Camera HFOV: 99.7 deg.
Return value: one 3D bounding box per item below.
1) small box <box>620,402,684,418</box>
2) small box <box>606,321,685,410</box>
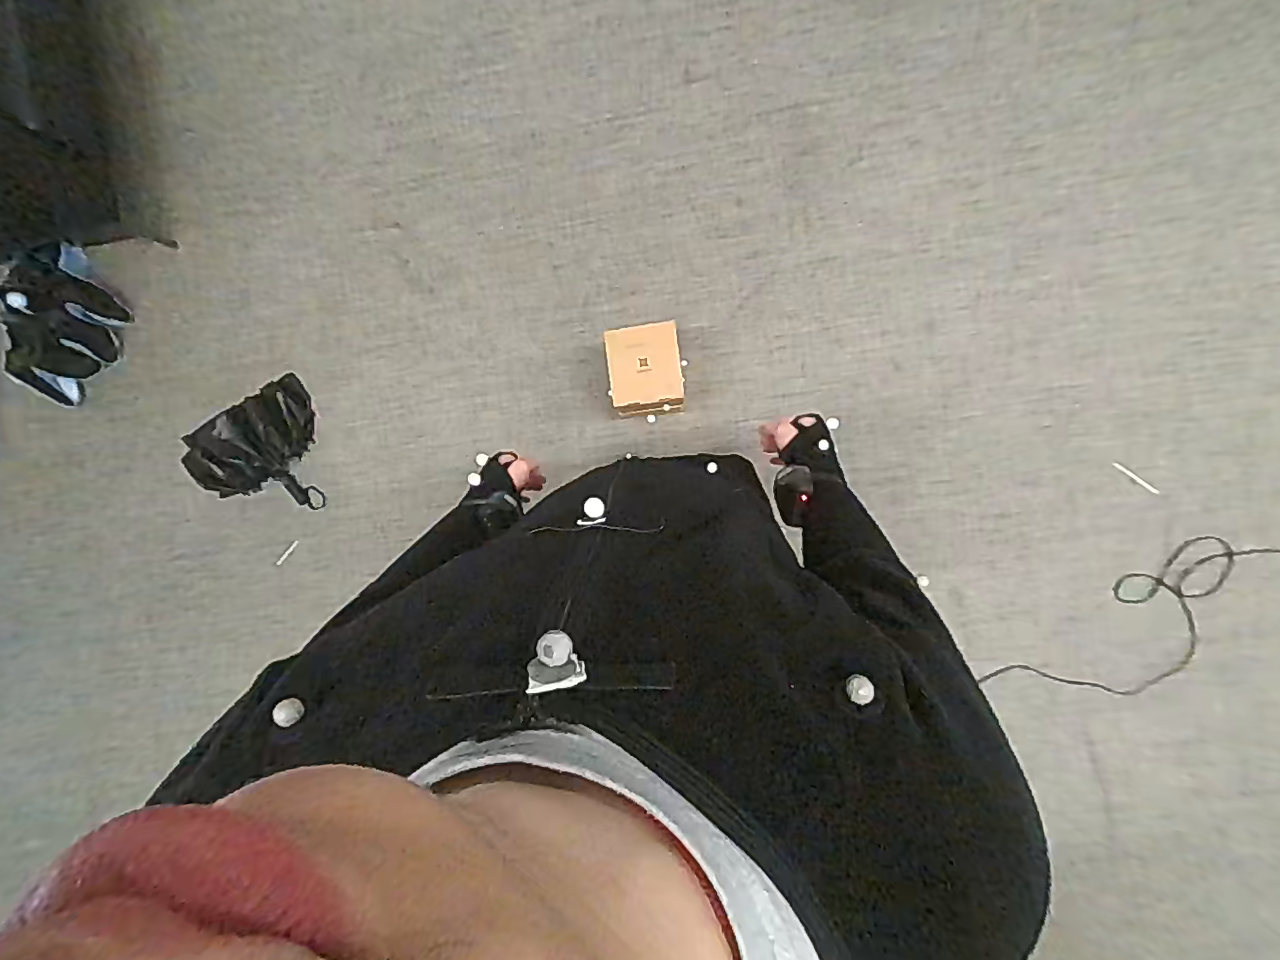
[{"bbox_3d":[0.030,-0.267,1.460,0.168,0.176,0.179,-5,92,6],"label":"small box"},{"bbox_3d":[0.019,-0.266,1.298,0.168,0.176,0.179,-7,90,5],"label":"small box"}]
